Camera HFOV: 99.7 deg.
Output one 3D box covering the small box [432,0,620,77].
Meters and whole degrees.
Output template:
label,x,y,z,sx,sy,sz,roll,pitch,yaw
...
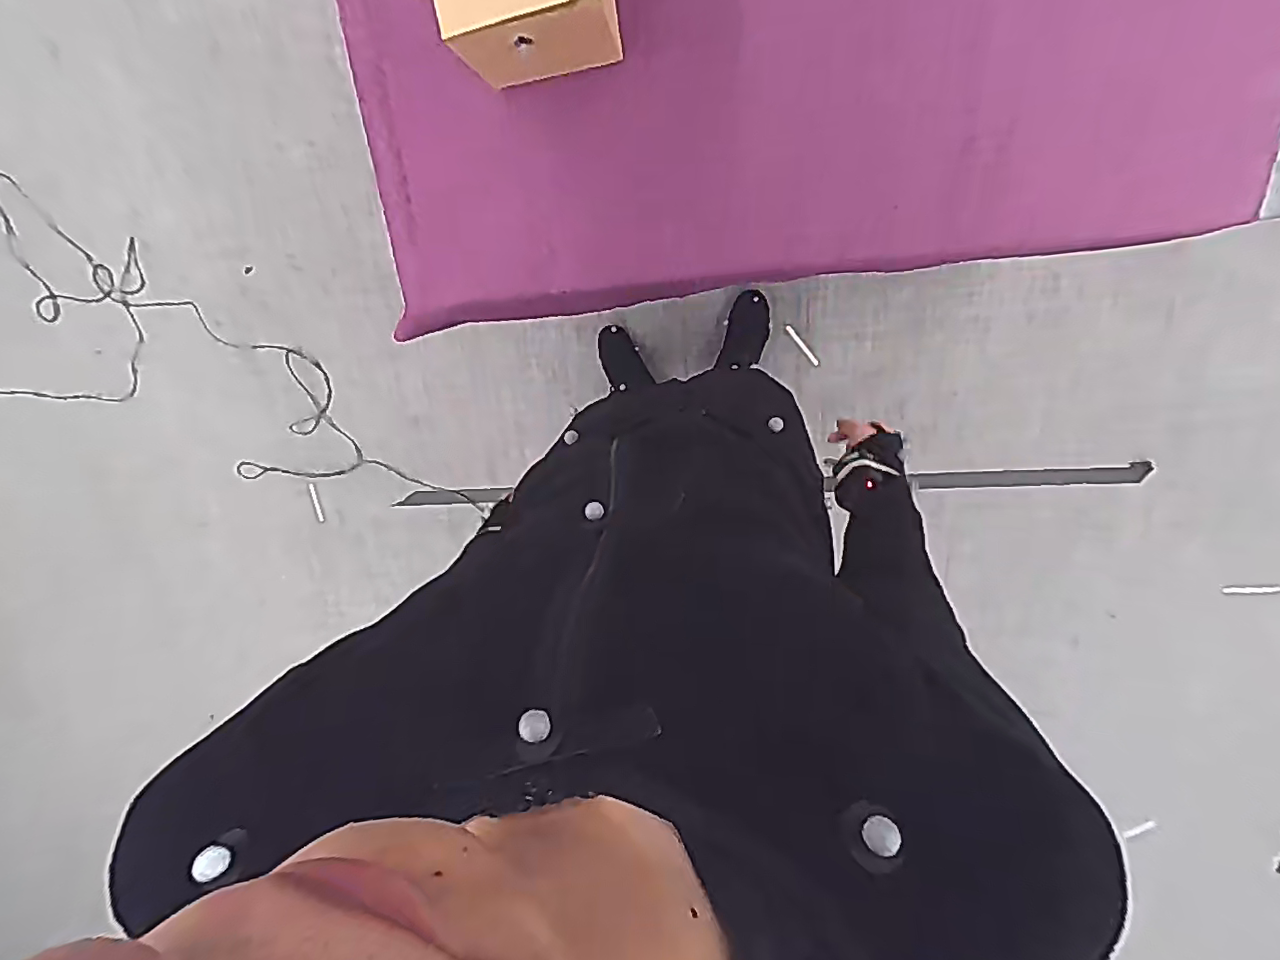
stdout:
label,x,y,z,sx,sy,sz,roll,pitch,yaw
small box,-0.127,-0.577,0.594,0.179,0.176,0.168,-6,111,7
